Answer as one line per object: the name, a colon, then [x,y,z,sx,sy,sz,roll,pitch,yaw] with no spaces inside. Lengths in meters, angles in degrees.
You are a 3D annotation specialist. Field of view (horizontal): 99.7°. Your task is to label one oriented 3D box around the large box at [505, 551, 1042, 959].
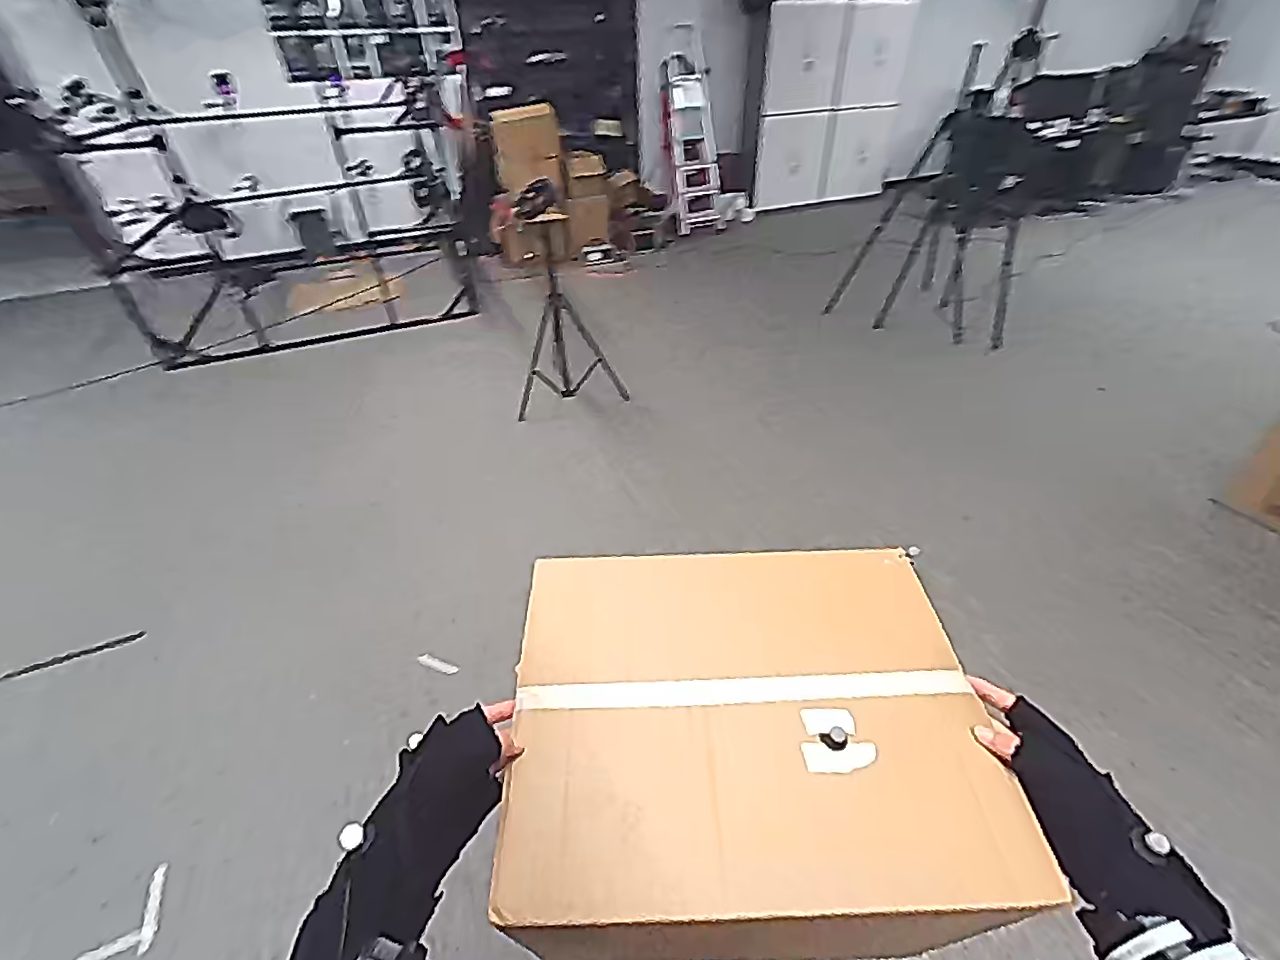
large box: [0.091,0.303,0.596,0.408,0.320,0.320,-2,44,-2]
